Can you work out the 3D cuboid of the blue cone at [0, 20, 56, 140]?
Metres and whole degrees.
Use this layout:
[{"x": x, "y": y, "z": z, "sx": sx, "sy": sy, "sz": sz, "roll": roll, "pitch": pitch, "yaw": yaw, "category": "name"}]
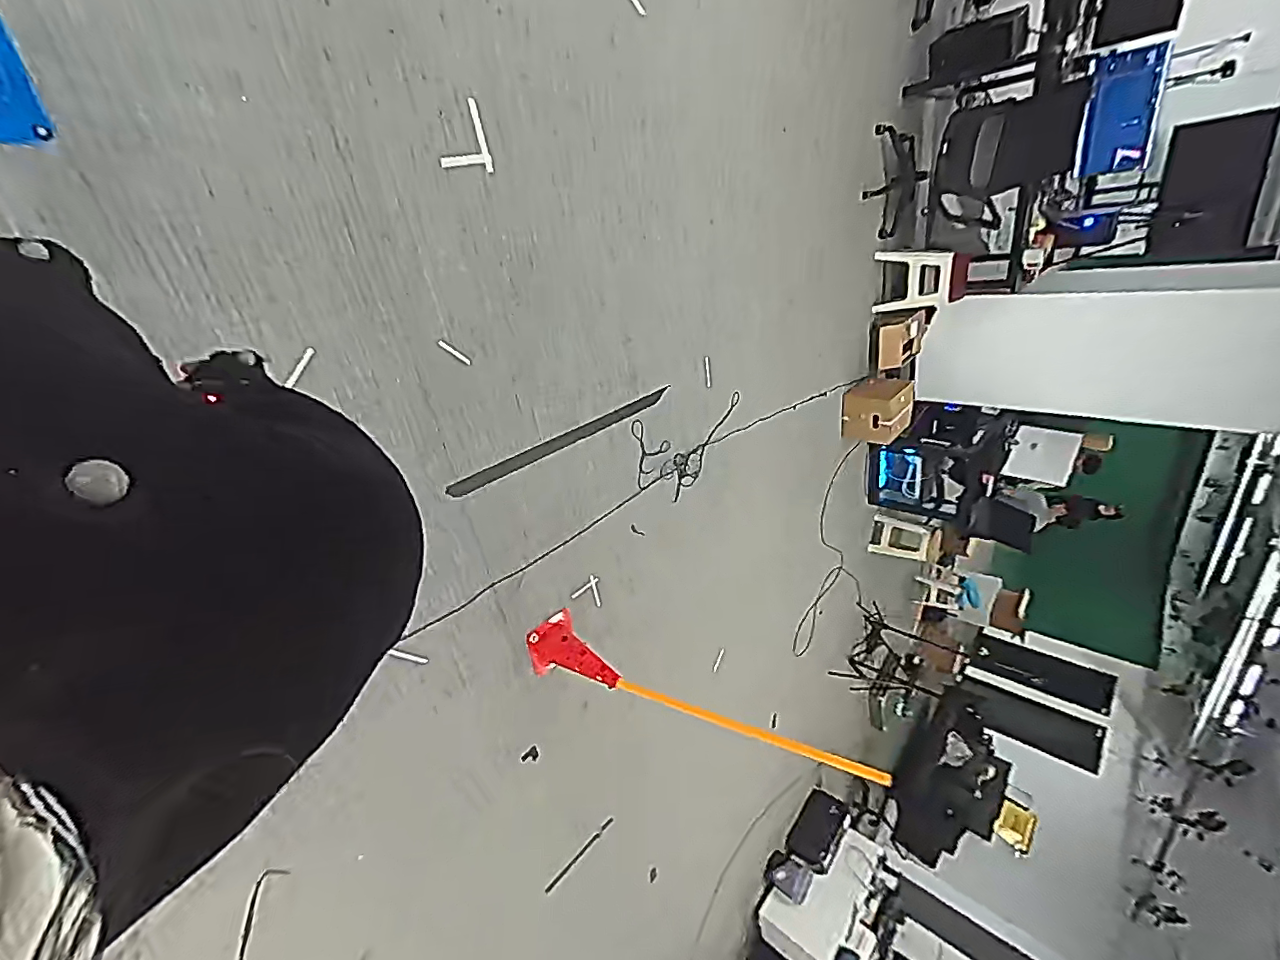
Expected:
[{"x": -0.946, "y": -0.600, "z": 0.722, "sx": 0.192, "sy": 0.380, "sz": 0.193, "roll": -29, "pitch": 121, "yaw": -41, "category": "blue cone"}]
